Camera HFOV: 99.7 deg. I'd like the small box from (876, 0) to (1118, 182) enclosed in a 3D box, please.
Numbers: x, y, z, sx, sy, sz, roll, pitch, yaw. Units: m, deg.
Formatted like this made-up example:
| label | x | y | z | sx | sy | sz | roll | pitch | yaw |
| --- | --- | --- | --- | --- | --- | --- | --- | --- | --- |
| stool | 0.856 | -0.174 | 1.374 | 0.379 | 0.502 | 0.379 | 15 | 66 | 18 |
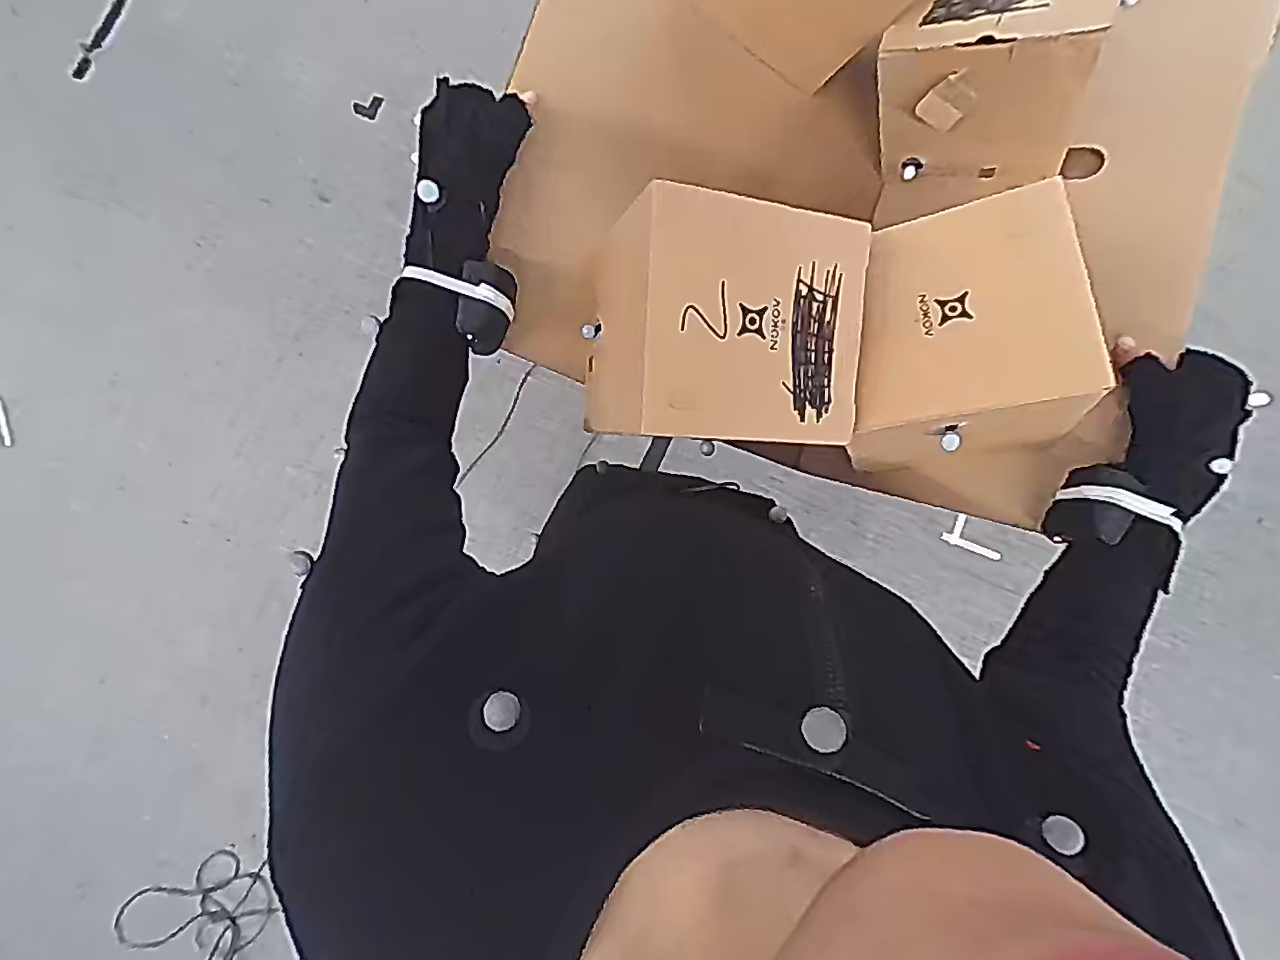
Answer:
| label | x | y | z | sx | sy | sz | roll | pitch | yaw |
| --- | --- | --- | --- | --- | --- | --- | --- | --- | --- |
| small box | 0.340 | -0.415 | 0.514 | 0.168 | 0.176 | 0.179 | 19 | 86 | 27 |
